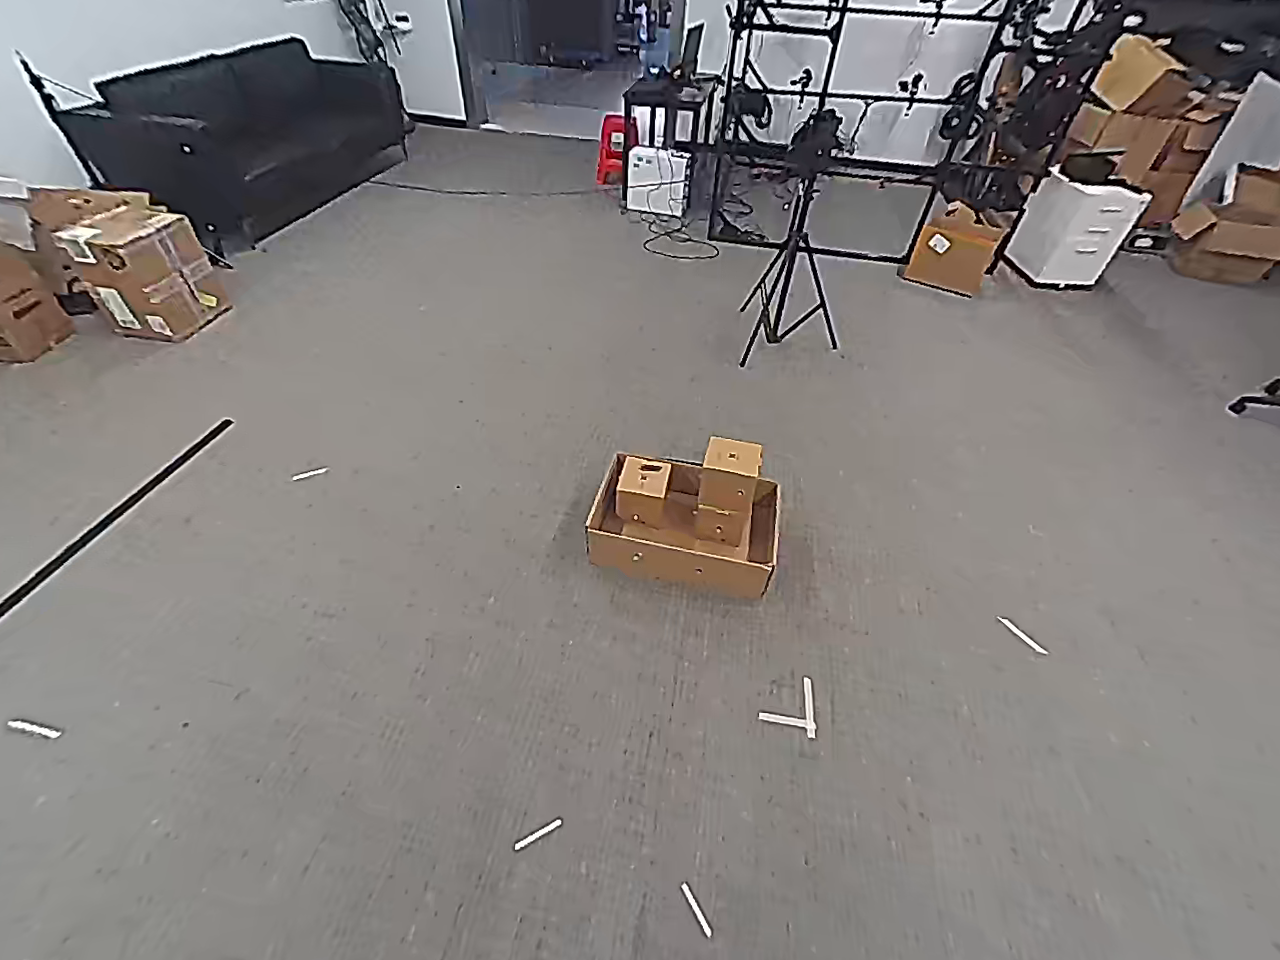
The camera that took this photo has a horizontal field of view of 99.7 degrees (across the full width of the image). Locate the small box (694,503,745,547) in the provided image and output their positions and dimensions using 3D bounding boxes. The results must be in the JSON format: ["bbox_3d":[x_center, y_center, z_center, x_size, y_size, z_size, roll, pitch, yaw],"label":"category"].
[{"bbox_3d":[0.285,0.112,1.904,0.168,0.176,0.179,9,46,10],"label":"small box"}]

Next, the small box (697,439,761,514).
[{"bbox_3d":[0.294,-0.009,1.792,0.179,0.176,0.168,10,43,10],"label":"small box"}]
